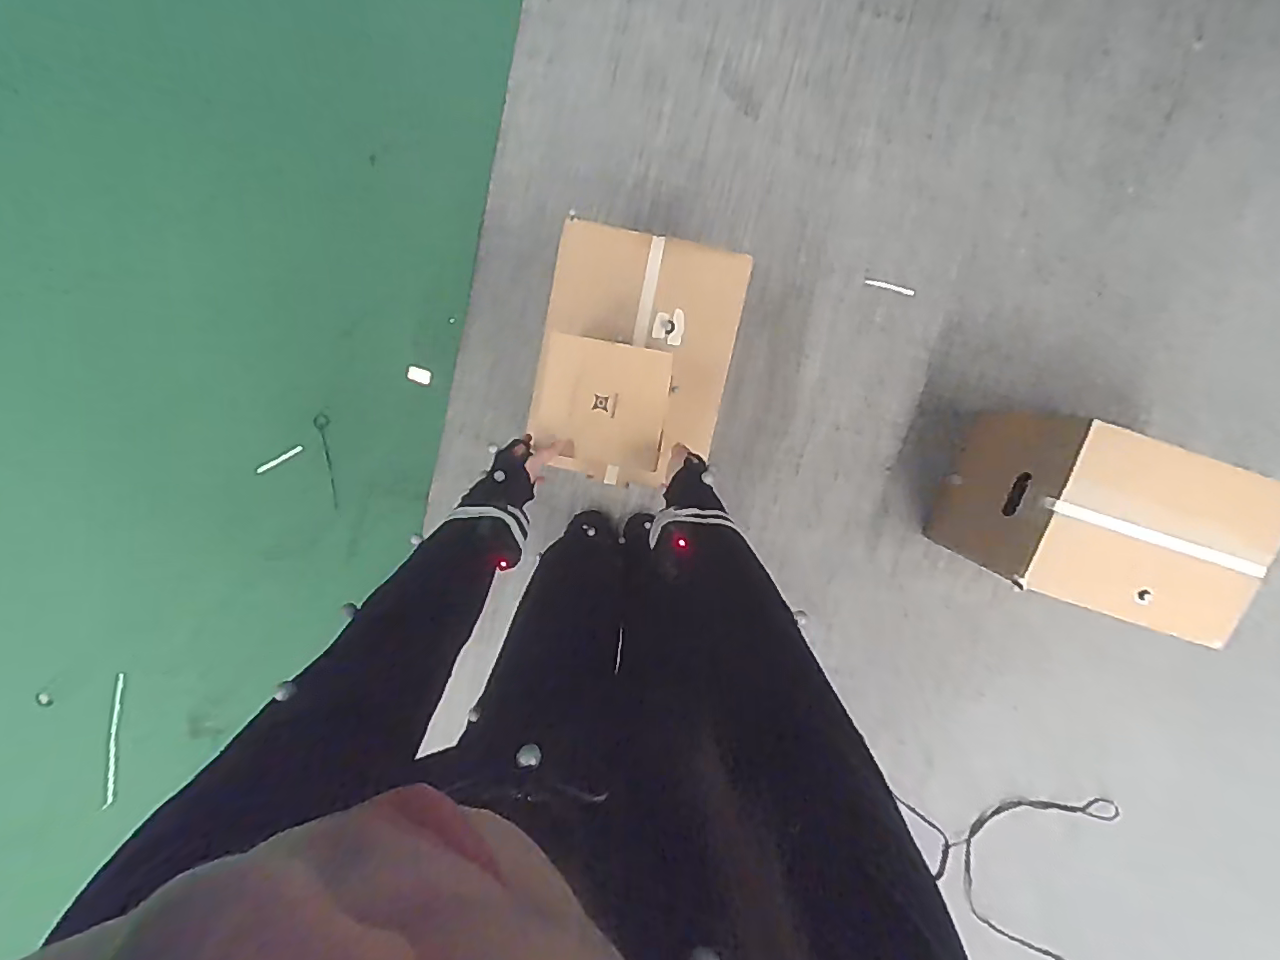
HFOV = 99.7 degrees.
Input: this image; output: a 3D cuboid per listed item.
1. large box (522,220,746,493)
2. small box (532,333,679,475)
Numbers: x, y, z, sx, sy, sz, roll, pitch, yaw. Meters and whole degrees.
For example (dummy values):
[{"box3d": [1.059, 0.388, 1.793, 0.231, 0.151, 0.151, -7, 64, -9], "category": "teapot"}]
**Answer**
[{"box3d": [-0.013, -0.215, 1.043, 0.320, 0.320, 0.408, 12, 98, -2], "category": "large box"}, {"box3d": [-0.046, -0.114, 0.811, 0.179, 0.176, 0.168, 11, 98, 0], "category": "small box"}]
